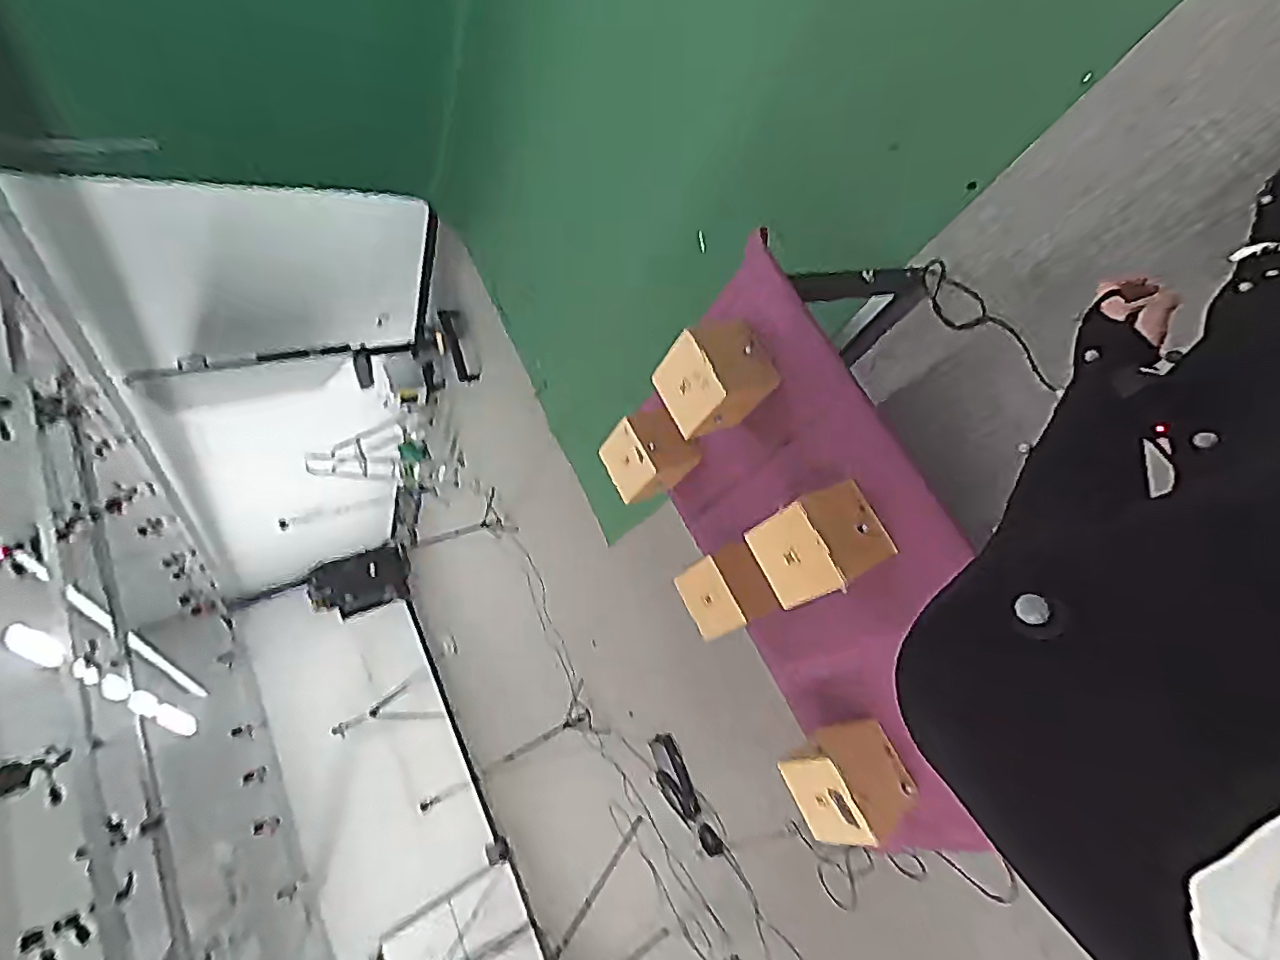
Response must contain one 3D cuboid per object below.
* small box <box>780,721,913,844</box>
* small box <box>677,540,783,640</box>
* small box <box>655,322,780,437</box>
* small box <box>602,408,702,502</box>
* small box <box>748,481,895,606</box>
[{"bbox_3d":[0.442,0.632,1.143,0.168,0.176,0.179,63,144,16],"label":"small box"},{"bbox_3d":[0.226,0.258,1.295,0.168,0.176,0.179,62,142,15],"label":"small box"},{"bbox_3d":[0.166,-0.218,1.169,0.168,0.176,0.179,62,145,14],"label":"small box"},{"bbox_3d":[0.032,-0.067,1.420,0.168,0.176,0.179,60,142,15],"label":"small box"},{"bbox_3d":[0.354,0.123,1.058,0.168,0.176,0.179,63,145,15],"label":"small box"}]
